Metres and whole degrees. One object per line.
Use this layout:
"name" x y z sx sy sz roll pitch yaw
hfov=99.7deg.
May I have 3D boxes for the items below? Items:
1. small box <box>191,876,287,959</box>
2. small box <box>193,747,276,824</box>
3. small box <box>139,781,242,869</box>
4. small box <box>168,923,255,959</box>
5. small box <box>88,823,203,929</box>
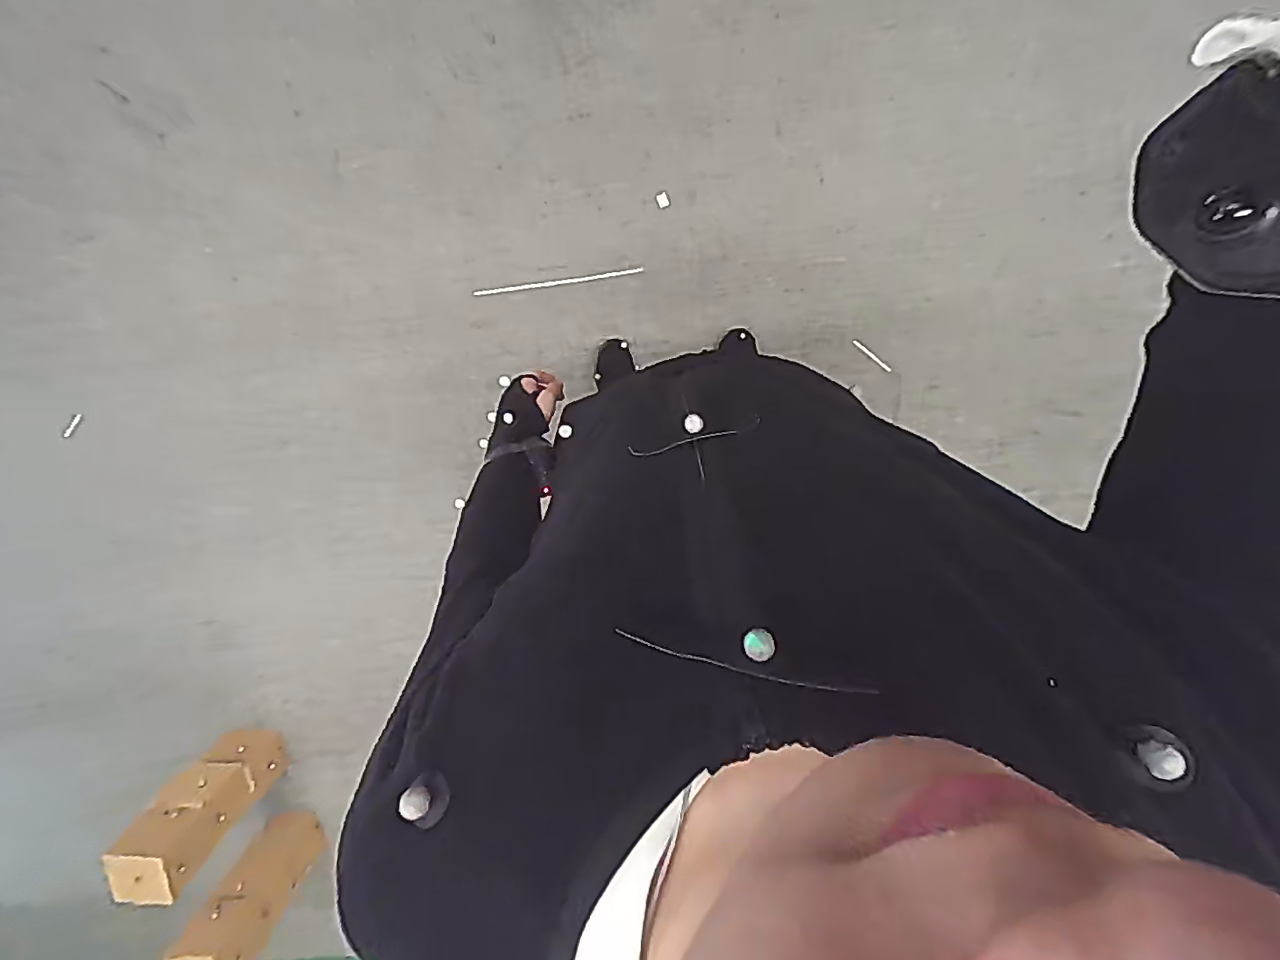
"small box" -1.305 1.446 1.779 0.179 0.176 0.168 -8 104 4
"small box" -1.381 1.039 1.846 0.179 0.176 0.168 0 104 0
"small box" -1.392 1.071 1.686 0.168 0.176 0.179 -1 105 2
"small box" -1.298 1.479 1.617 0.168 0.176 0.179 -8 103 3
"small box" -1.385 1.115 1.529 0.168 0.176 0.179 3 104 -1
